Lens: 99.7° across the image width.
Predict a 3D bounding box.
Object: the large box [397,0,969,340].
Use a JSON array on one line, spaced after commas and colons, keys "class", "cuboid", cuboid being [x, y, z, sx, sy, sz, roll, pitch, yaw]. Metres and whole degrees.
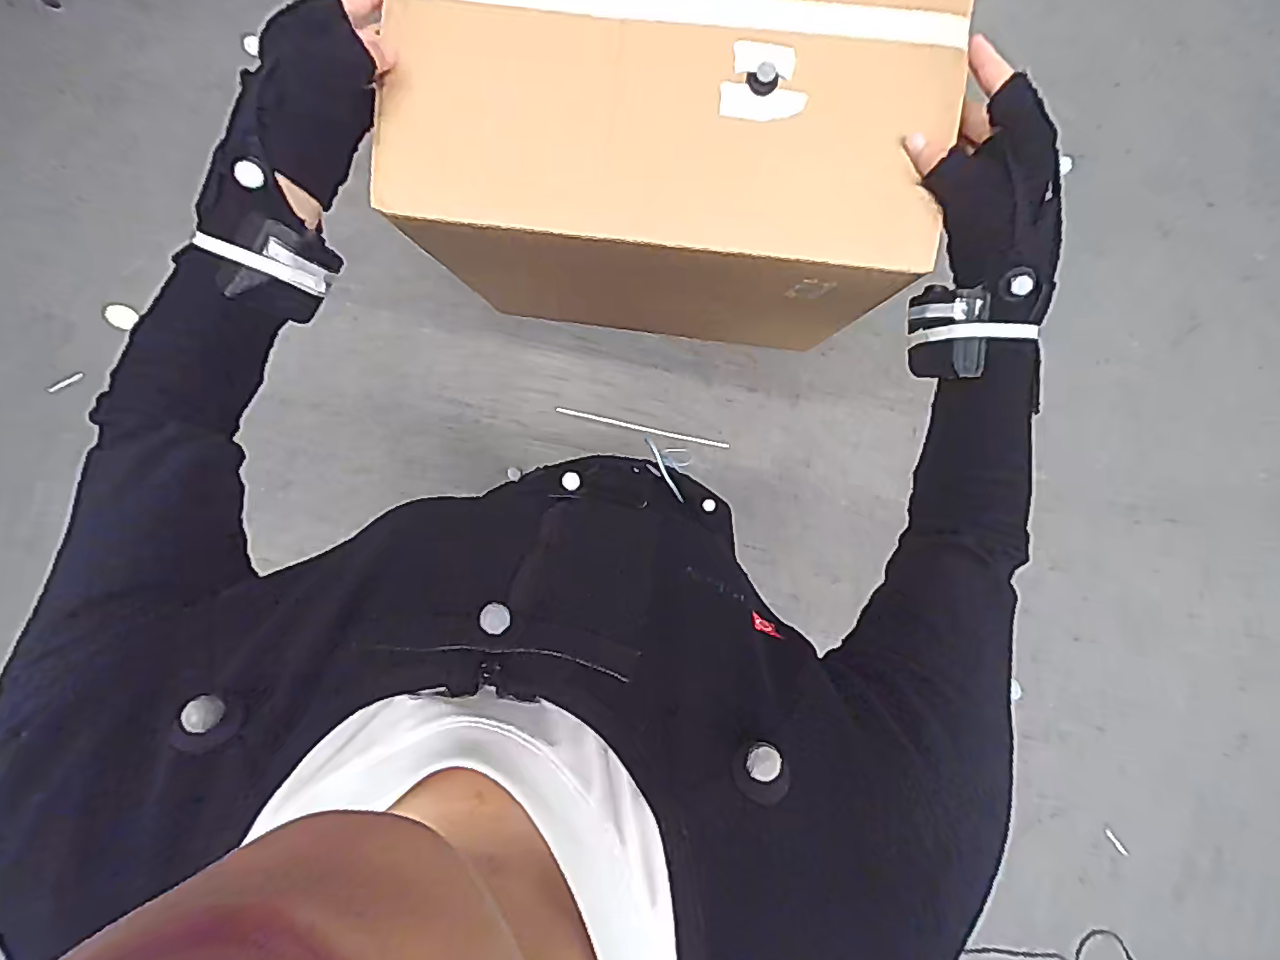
[{"class": "large box", "cuboid": [0.032, -0.339, 0.535, 0.408, 0.320, 0.320, 7, 94, 0]}]
